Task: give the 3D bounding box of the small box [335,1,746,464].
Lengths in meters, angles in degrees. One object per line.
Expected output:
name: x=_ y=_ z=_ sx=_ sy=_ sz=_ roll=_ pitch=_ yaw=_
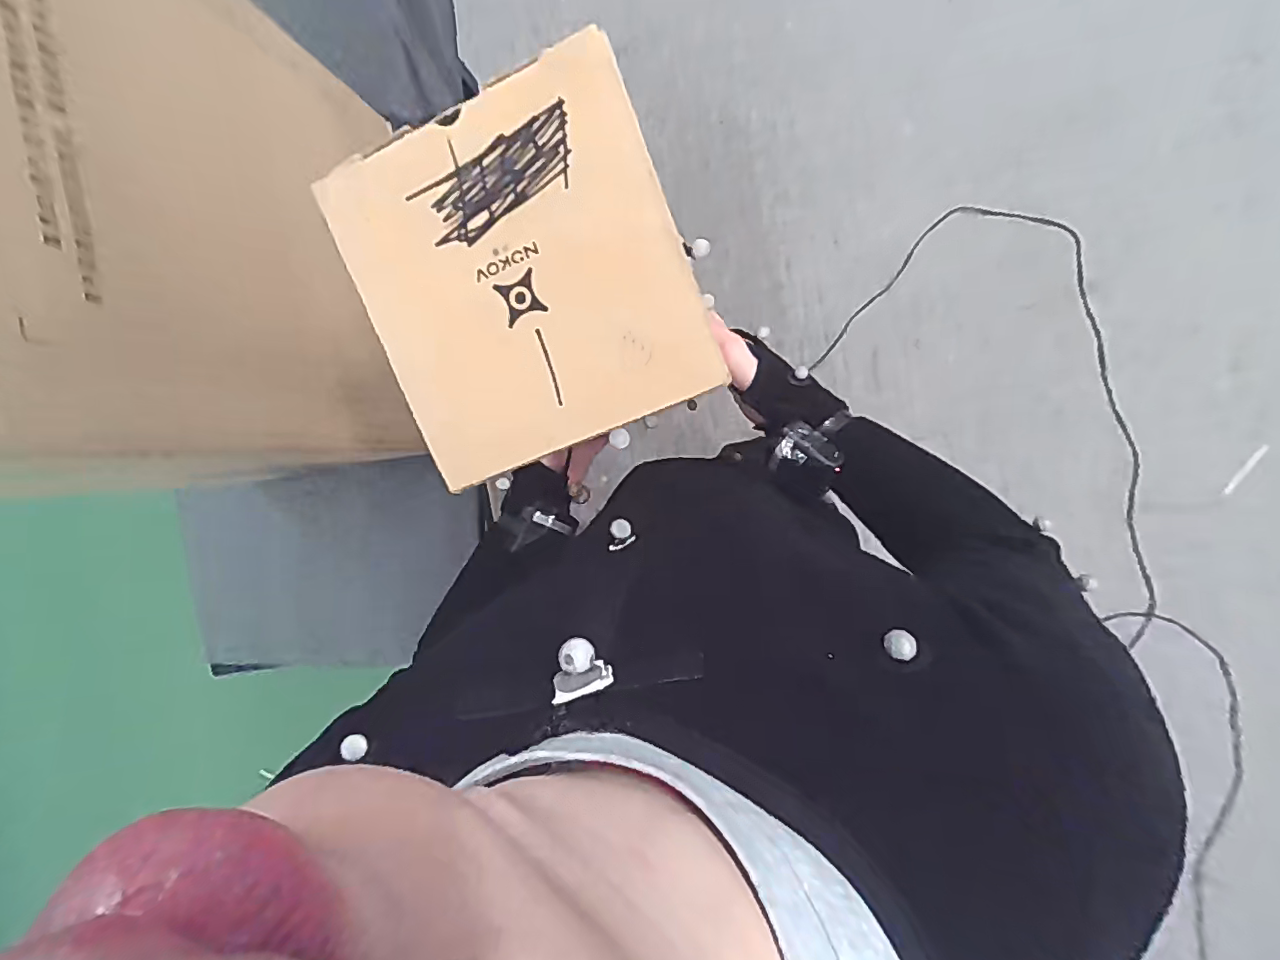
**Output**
small box: x=-0.041 y=-0.127 z=0.347 sx=0.168 sy=0.176 sz=0.179 roll=-20 pitch=97 yaw=12
